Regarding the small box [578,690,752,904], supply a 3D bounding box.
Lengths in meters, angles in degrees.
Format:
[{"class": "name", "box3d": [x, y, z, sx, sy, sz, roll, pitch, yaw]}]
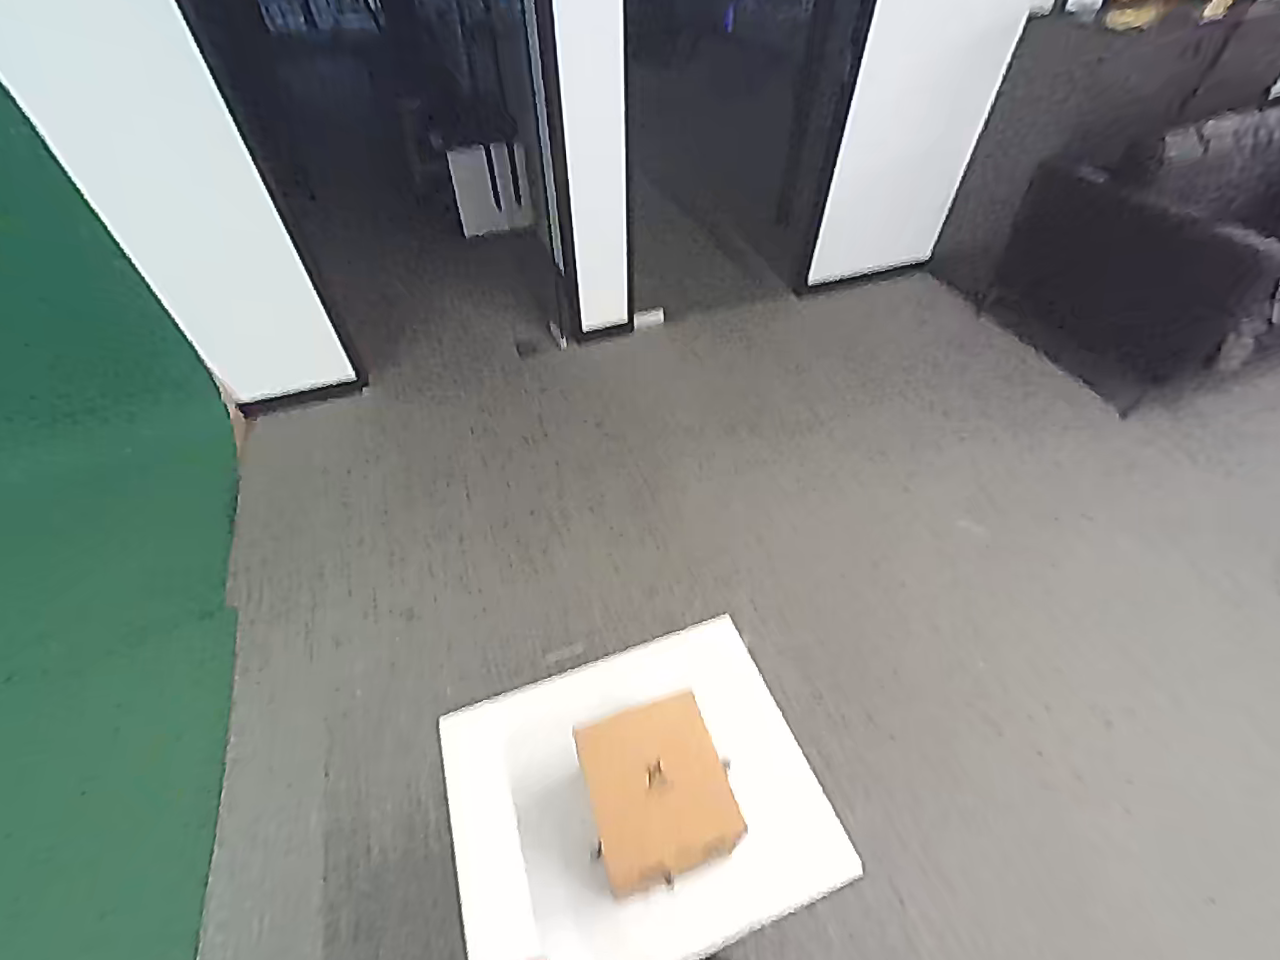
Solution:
[{"class": "small box", "box3d": [0.023, 0.410, 0.701, 0.168, 0.176, 0.179, -14, 49, -13]}]
